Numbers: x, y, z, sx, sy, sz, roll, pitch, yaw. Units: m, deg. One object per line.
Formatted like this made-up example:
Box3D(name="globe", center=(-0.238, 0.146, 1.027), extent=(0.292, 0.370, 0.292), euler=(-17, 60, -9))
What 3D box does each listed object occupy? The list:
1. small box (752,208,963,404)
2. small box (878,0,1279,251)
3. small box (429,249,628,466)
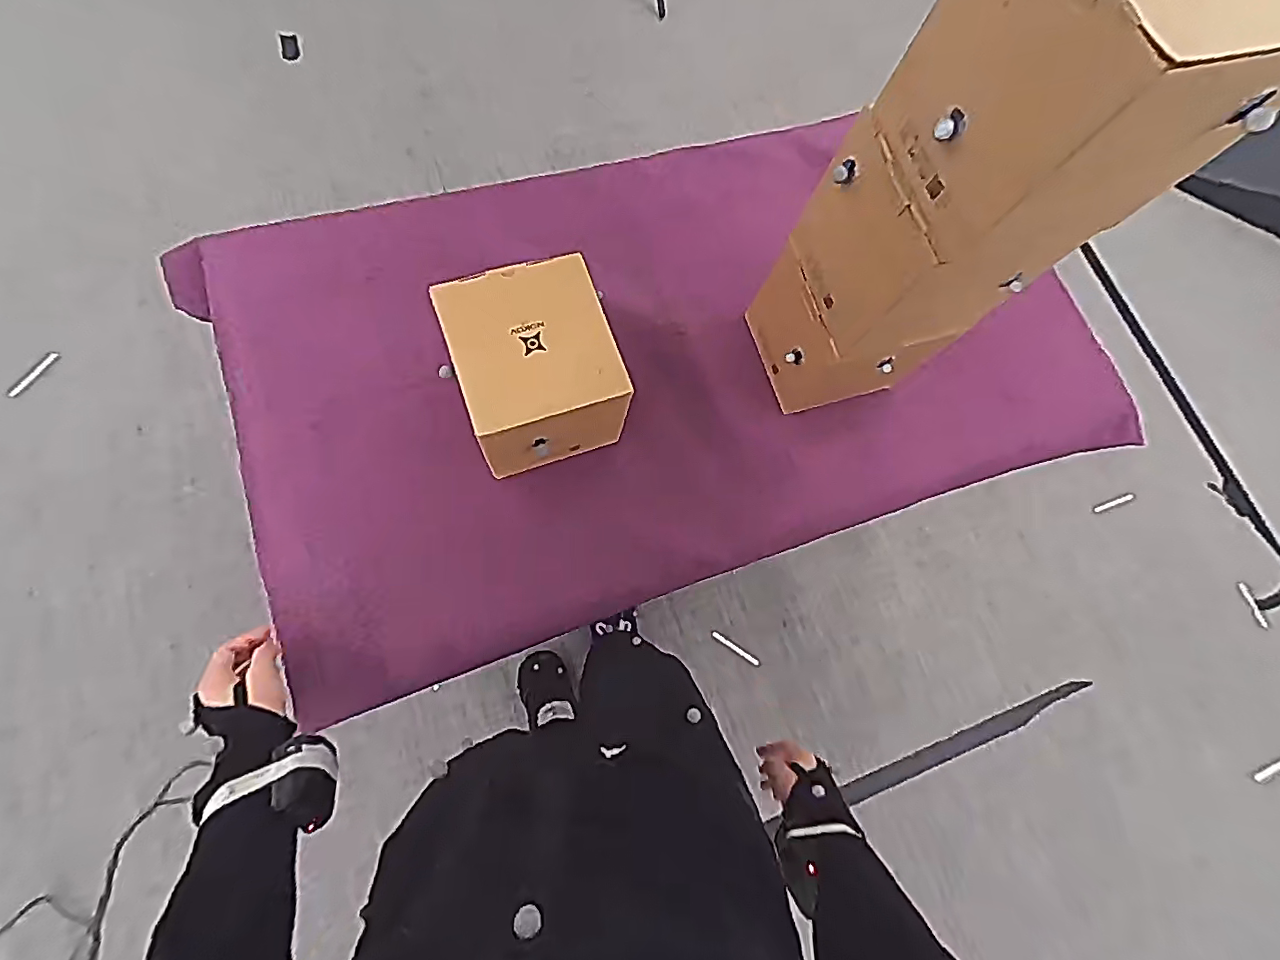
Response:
Box3D(name="small box", center=(0.263, -0.216, 0.708), extent=(0.179, 0.176, 0.168), euler=(-16, 79, -12))
Box3D(name="small box", center=(0.316, -0.299, 0.394), extent=(0.179, 0.176, 0.168), euler=(-16, 78, -11))
Box3D(name="small box", center=(-0.123, -0.128, 0.633), extent=(0.168, 0.176, 0.179), euler=(-19, 78, -12))
